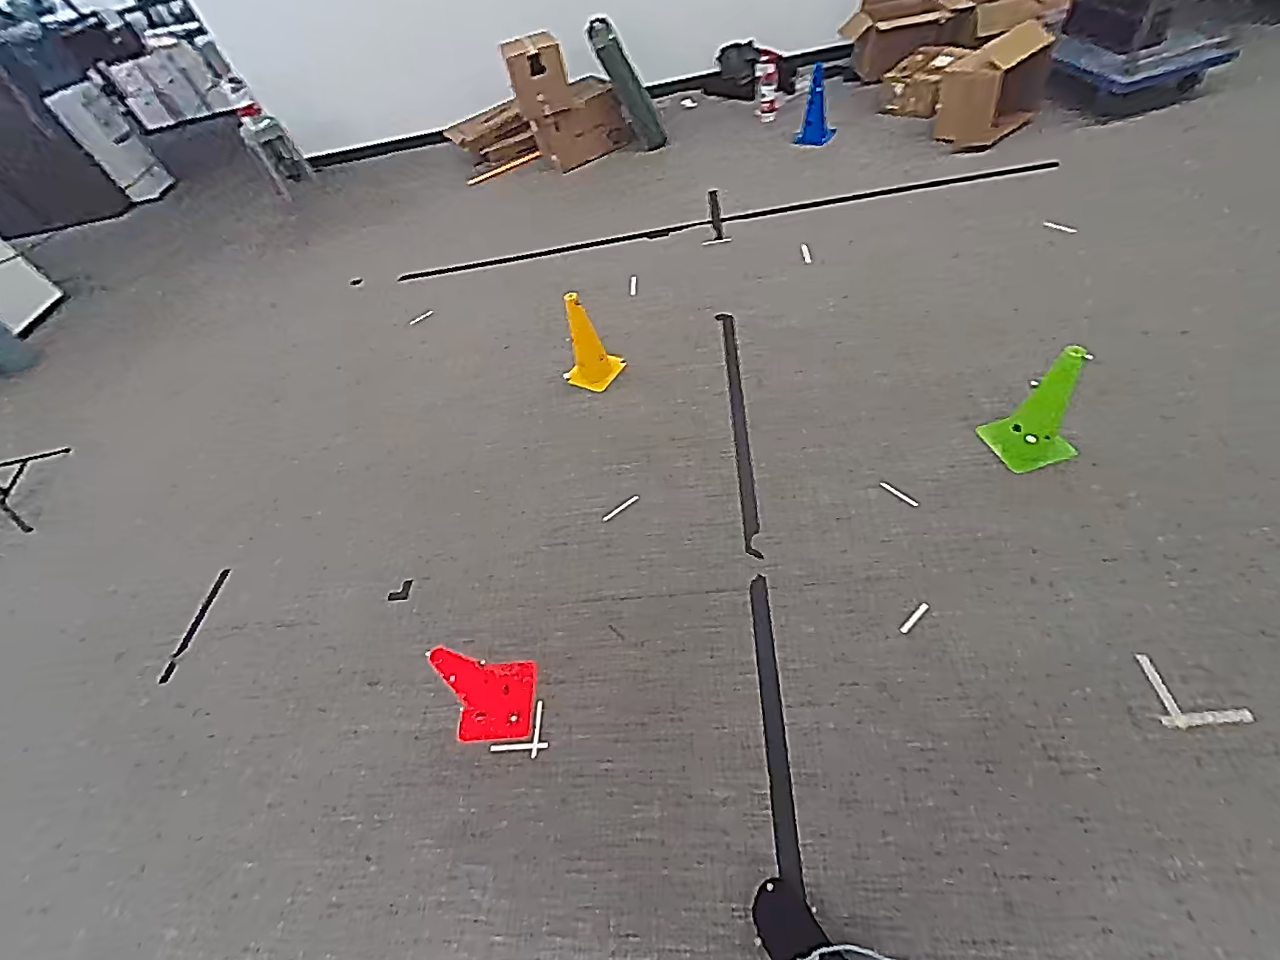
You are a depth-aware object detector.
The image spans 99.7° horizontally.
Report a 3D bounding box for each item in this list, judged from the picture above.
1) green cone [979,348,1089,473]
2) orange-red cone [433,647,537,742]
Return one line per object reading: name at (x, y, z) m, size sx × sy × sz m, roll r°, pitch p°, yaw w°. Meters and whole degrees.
green cone at (1.147, -0.219, 1.516) m, size 0.200 × 0.368 × 0.202 m, roll -18°, pitch 52°, yaw -1°
orange-red cone at (-0.411, 0.492, 1.325) m, size 0.198 × 0.360 × 0.199 m, roll -6°, pitch 50°, yaw 8°
